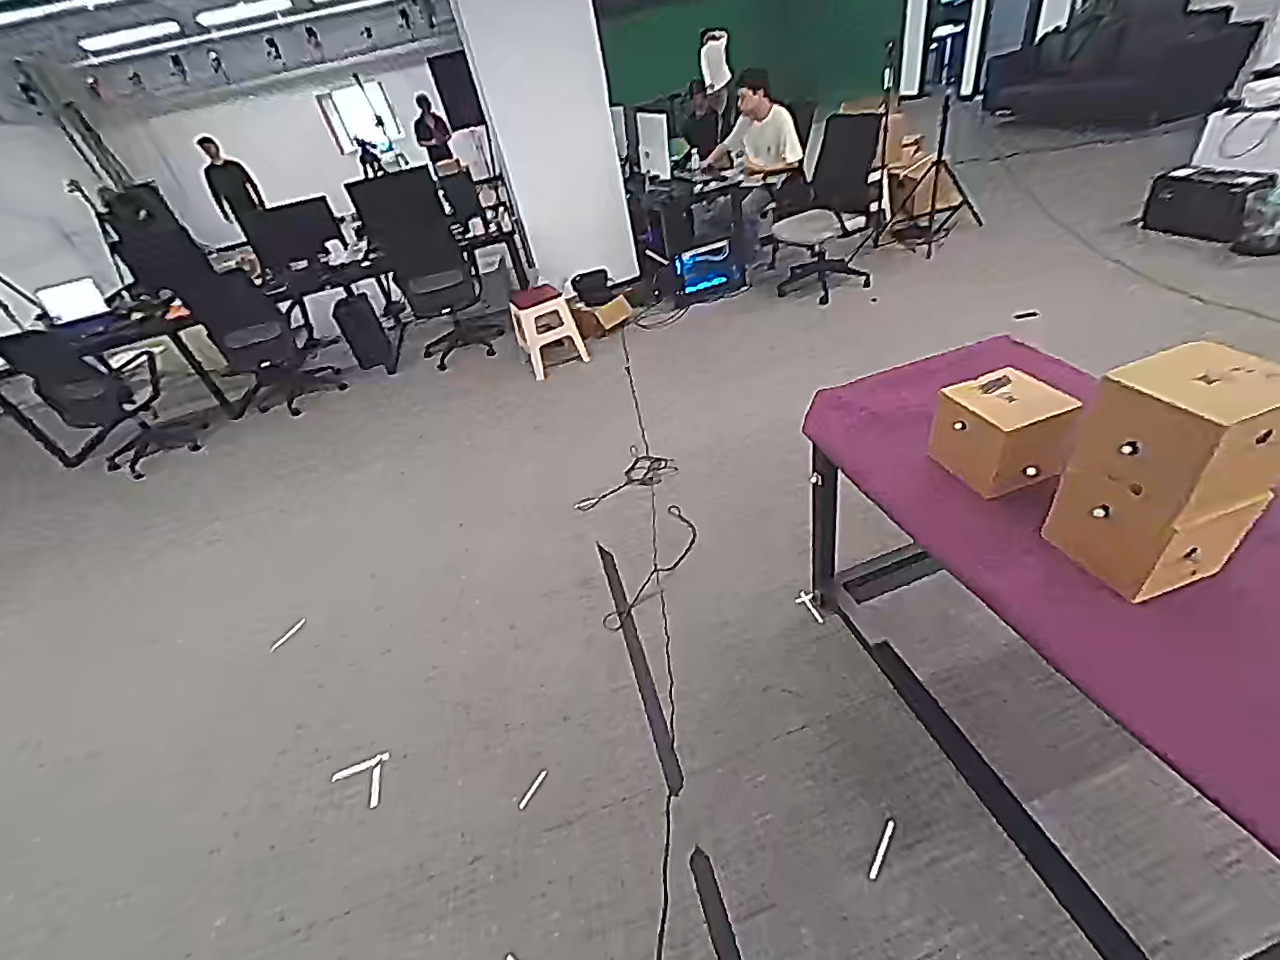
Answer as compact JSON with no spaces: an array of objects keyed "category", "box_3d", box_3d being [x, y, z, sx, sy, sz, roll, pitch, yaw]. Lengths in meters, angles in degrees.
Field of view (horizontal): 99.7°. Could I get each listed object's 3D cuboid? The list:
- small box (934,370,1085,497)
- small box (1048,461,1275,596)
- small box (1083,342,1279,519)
[{"category":"small box","box_3d":[0.726,-0.094,1.089,0.168,0.176,0.179,-19,39,-6]},{"category":"small box","box_3d":[0.811,0.063,0.867,0.168,0.176,0.179,-18,37,-5]},{"category":"small box","box_3d":[0.786,-0.070,0.773,0.179,0.176,0.168,-18,37,-6]}]
